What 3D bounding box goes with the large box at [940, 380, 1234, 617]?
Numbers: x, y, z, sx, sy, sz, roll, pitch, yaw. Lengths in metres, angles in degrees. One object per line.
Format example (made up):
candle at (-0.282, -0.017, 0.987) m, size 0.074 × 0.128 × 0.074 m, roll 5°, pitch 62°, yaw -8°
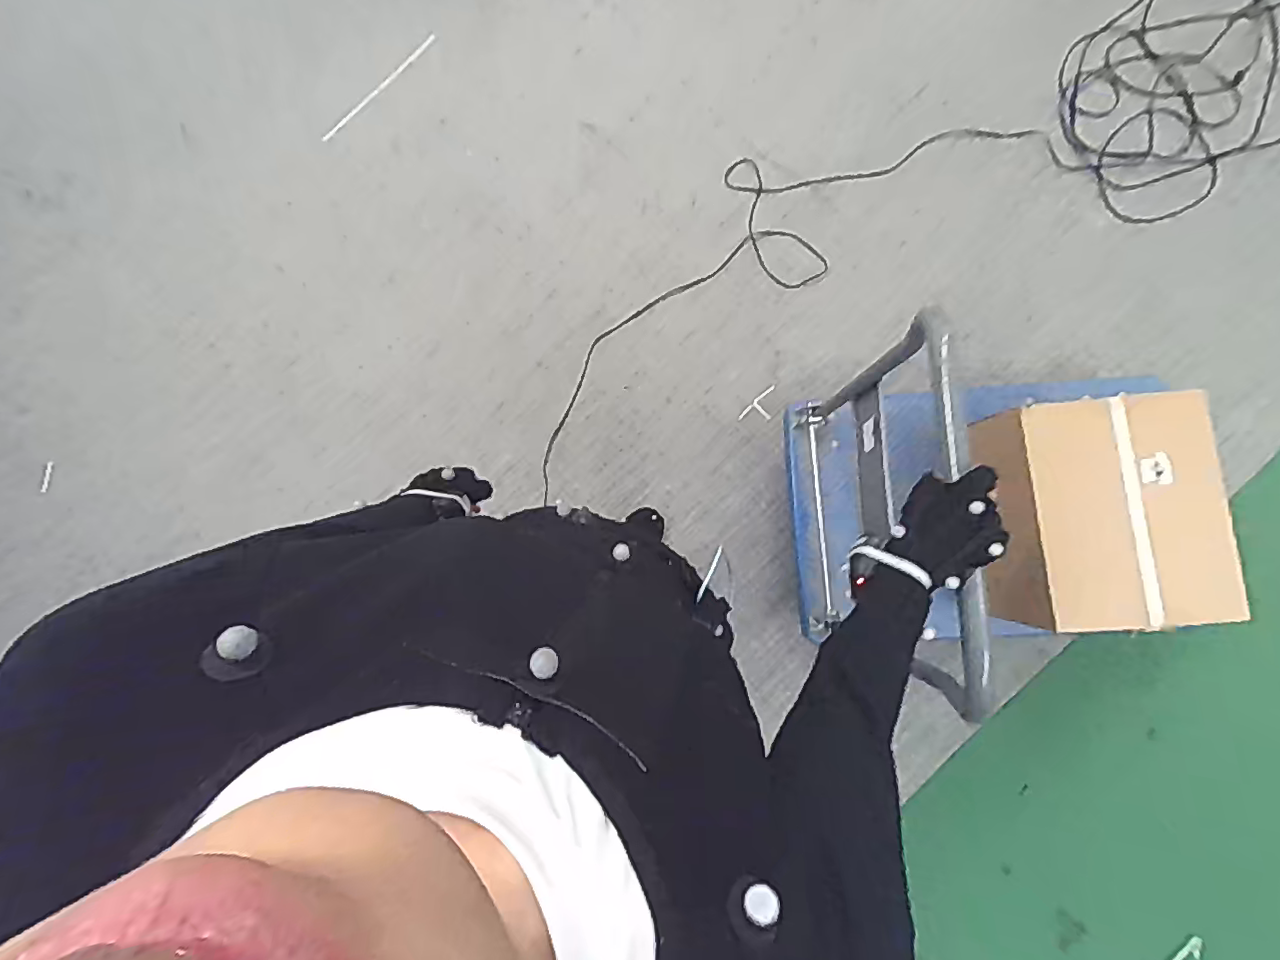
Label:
large box at (0.860, 0.047, 1.102) m, size 0.320 × 0.320 × 0.408 m, roll -5°, pitch 83°, yaw 4°
